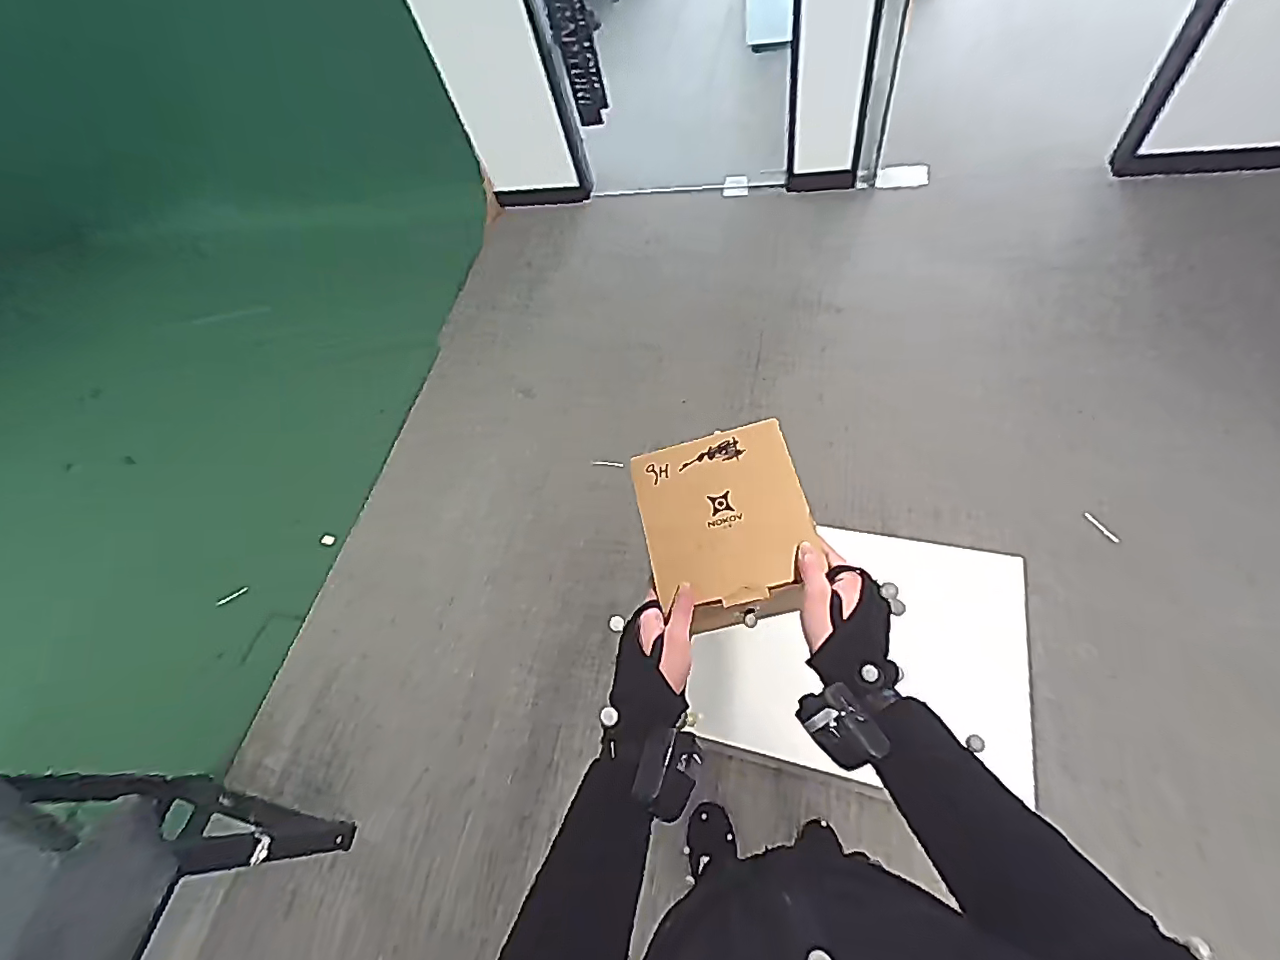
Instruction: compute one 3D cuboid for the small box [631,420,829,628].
[{"bbox_3d":[0.104,0.064,0.626,0.168,0.176,0.179,-18,64,6],"label":"small box"}]
